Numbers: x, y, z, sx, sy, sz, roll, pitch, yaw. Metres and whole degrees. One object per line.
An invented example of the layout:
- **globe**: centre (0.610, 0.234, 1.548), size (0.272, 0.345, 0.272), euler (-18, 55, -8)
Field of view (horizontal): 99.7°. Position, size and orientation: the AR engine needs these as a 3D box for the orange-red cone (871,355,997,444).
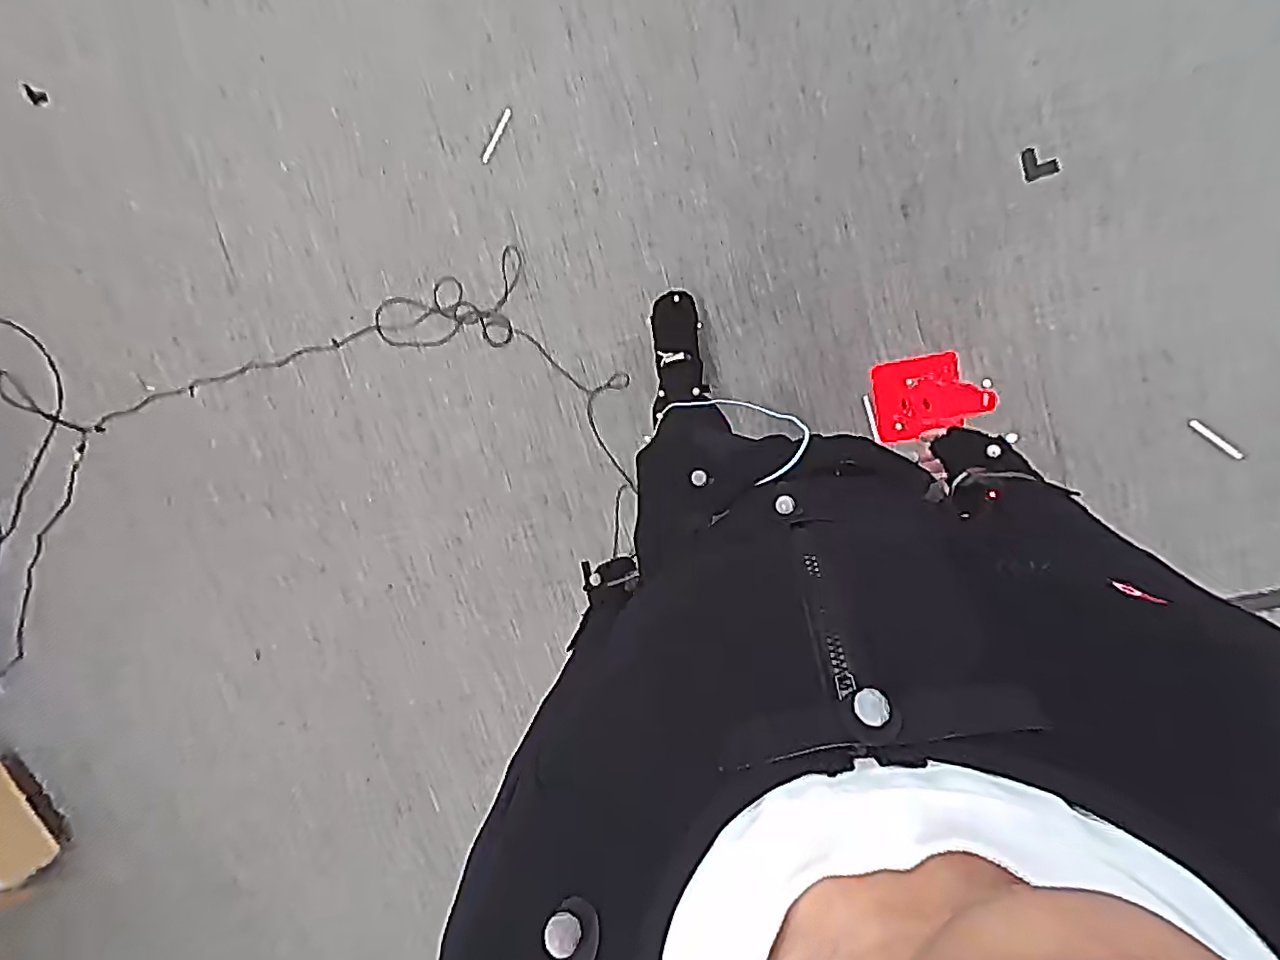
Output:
- **orange-red cone**: centre (0.648, -0.166, 1.143), size (0.199, 0.360, 0.198), euler (-8, 98, 8)
